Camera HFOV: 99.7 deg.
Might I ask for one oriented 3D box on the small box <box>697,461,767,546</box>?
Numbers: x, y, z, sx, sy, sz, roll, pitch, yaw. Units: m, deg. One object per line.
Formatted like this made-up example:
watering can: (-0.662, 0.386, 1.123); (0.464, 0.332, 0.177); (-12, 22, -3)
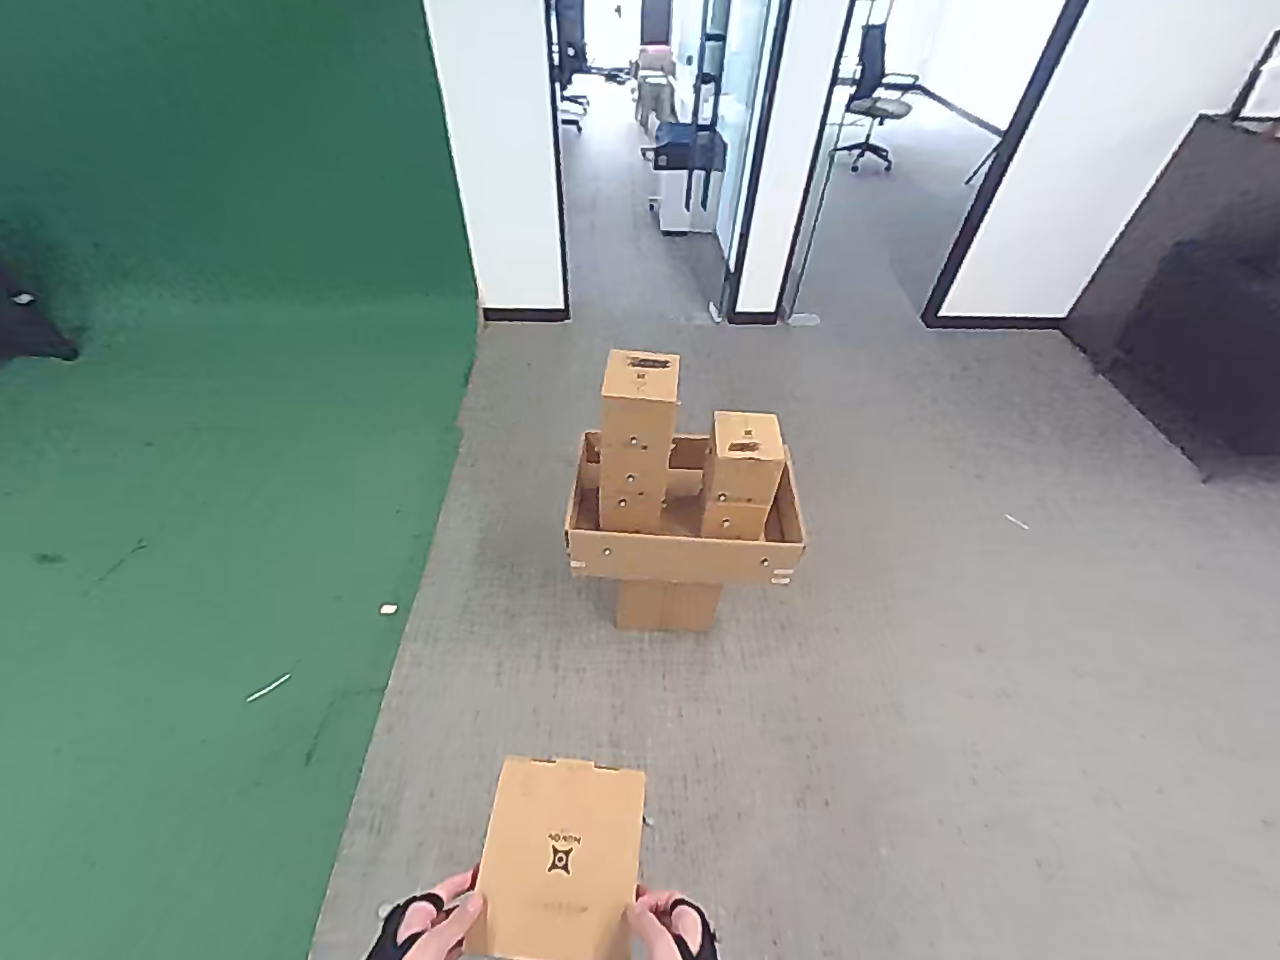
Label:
small box: (0.253, 0.067, 1.515); (0.168, 0.176, 0.179); (4, 46, 1)

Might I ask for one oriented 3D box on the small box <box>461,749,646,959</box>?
small box: (-0.087, 0.436, 0.634); (0.168, 0.176, 0.179); (6, 54, 3)

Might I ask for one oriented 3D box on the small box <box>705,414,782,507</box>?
small box: (0.260, -0.047, 1.397); (0.168, 0.176, 0.179); (4, 46, 0)

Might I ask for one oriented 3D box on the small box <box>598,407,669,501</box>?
small box: (-0.015, -0.063, 1.394); (0.168, 0.176, 0.179); (5, 46, 0)
